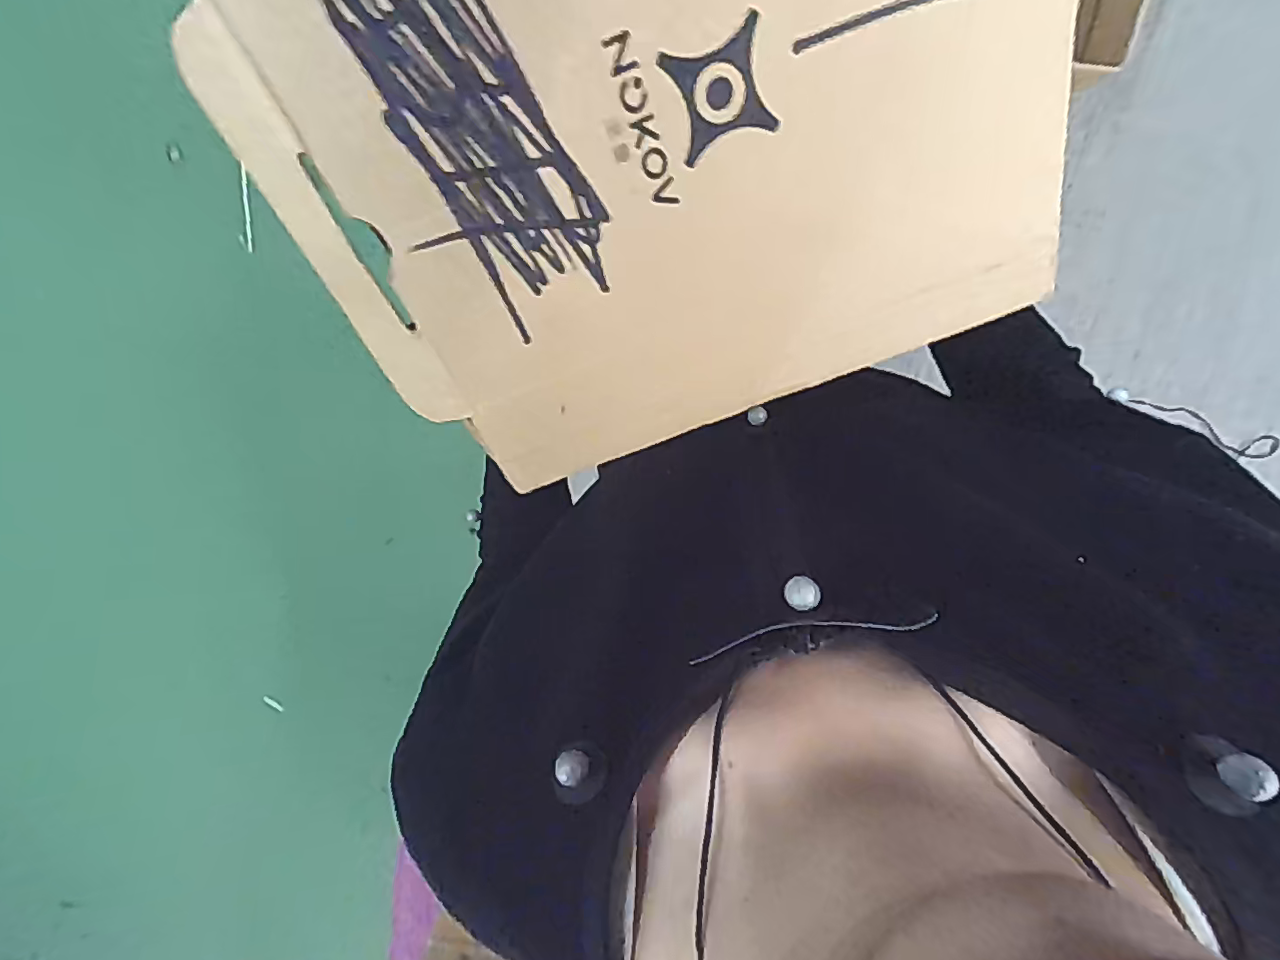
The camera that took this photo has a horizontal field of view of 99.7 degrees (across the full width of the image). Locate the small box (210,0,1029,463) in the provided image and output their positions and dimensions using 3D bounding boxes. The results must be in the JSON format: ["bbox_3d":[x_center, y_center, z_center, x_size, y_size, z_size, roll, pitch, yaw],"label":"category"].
[{"bbox_3d":[0.000,-0.138,0.198,0.179,0.176,0.168,-19,123,9],"label":"small box"}]
